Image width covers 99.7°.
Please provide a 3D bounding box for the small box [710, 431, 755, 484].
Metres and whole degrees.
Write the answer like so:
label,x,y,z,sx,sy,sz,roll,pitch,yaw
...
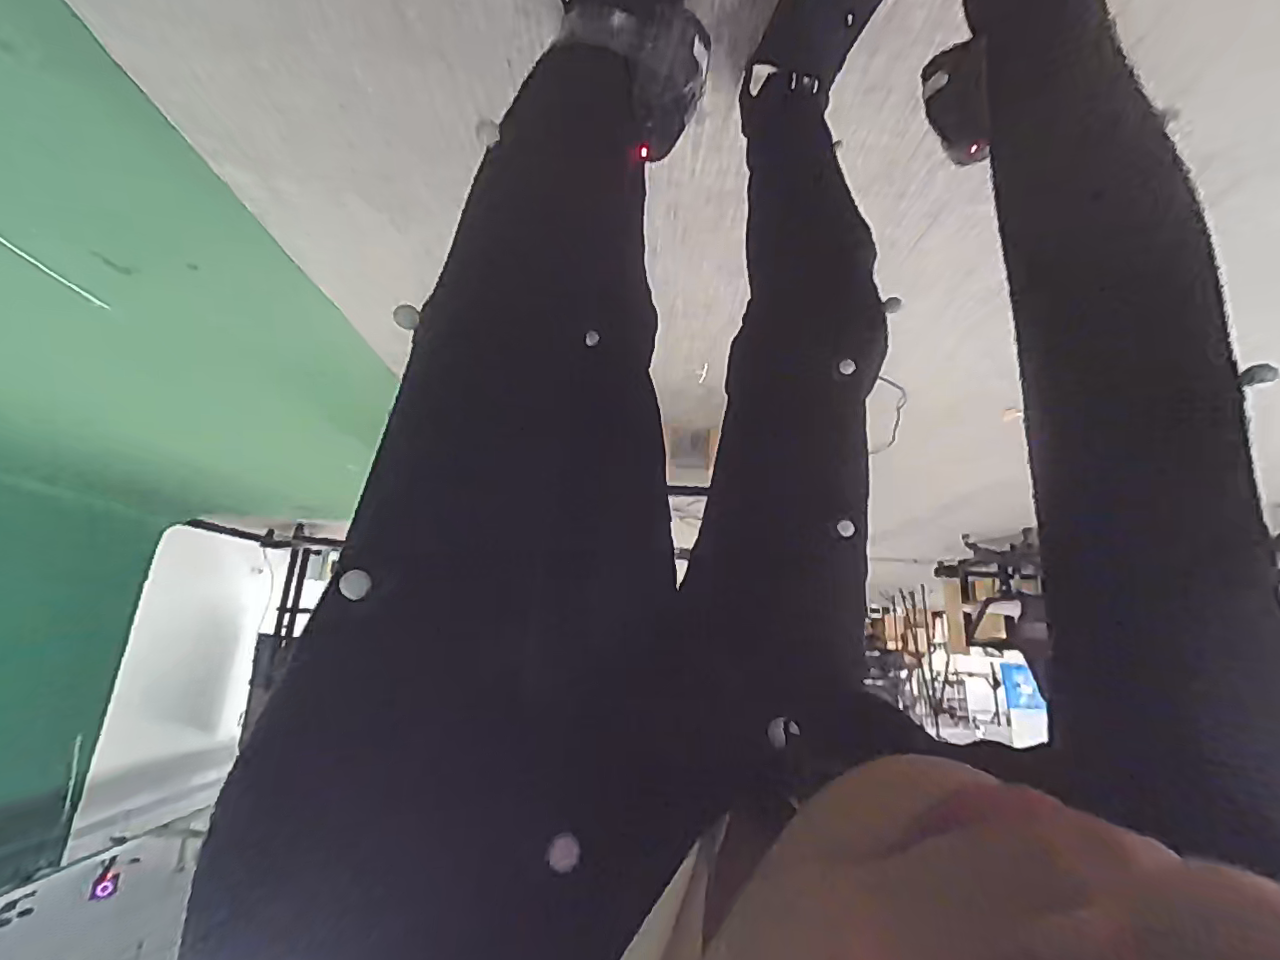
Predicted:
label,x,y,z,sx,sy,sz,roll,pitch,yaw
small box,0.355,-0.086,2.103,0.168,0.176,0.179,1,164,8
